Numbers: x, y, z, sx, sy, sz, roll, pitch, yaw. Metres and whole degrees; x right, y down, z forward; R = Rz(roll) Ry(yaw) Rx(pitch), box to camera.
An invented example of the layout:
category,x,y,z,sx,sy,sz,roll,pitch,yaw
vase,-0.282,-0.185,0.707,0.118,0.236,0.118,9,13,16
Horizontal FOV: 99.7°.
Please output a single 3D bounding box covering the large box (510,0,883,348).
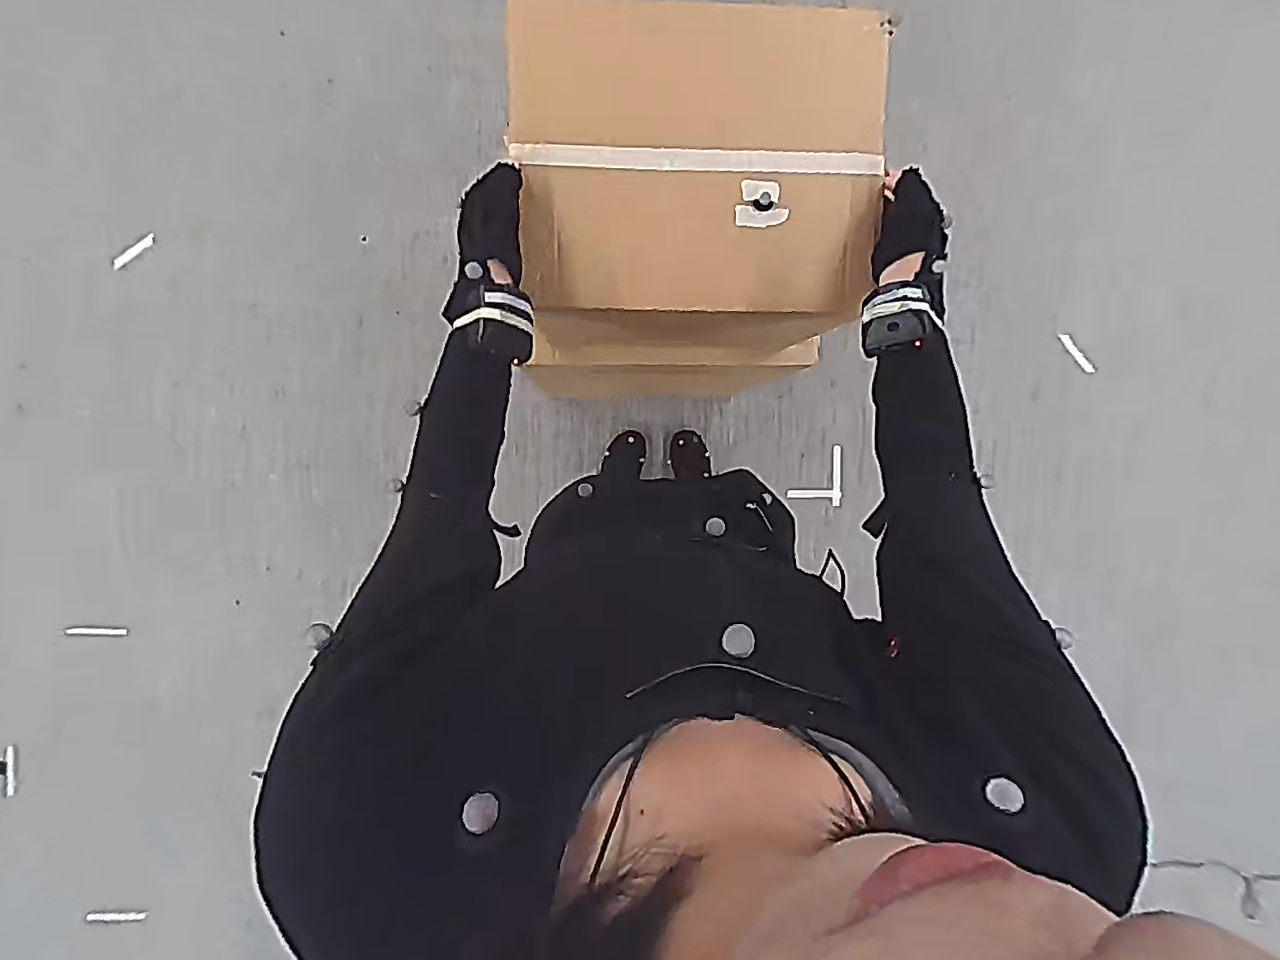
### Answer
category,x,y,z,sx,sy,sz,roll,pitch,yaw
large box,0.054,-0.360,0.729,0.408,0.320,0.320,-1,96,-4
